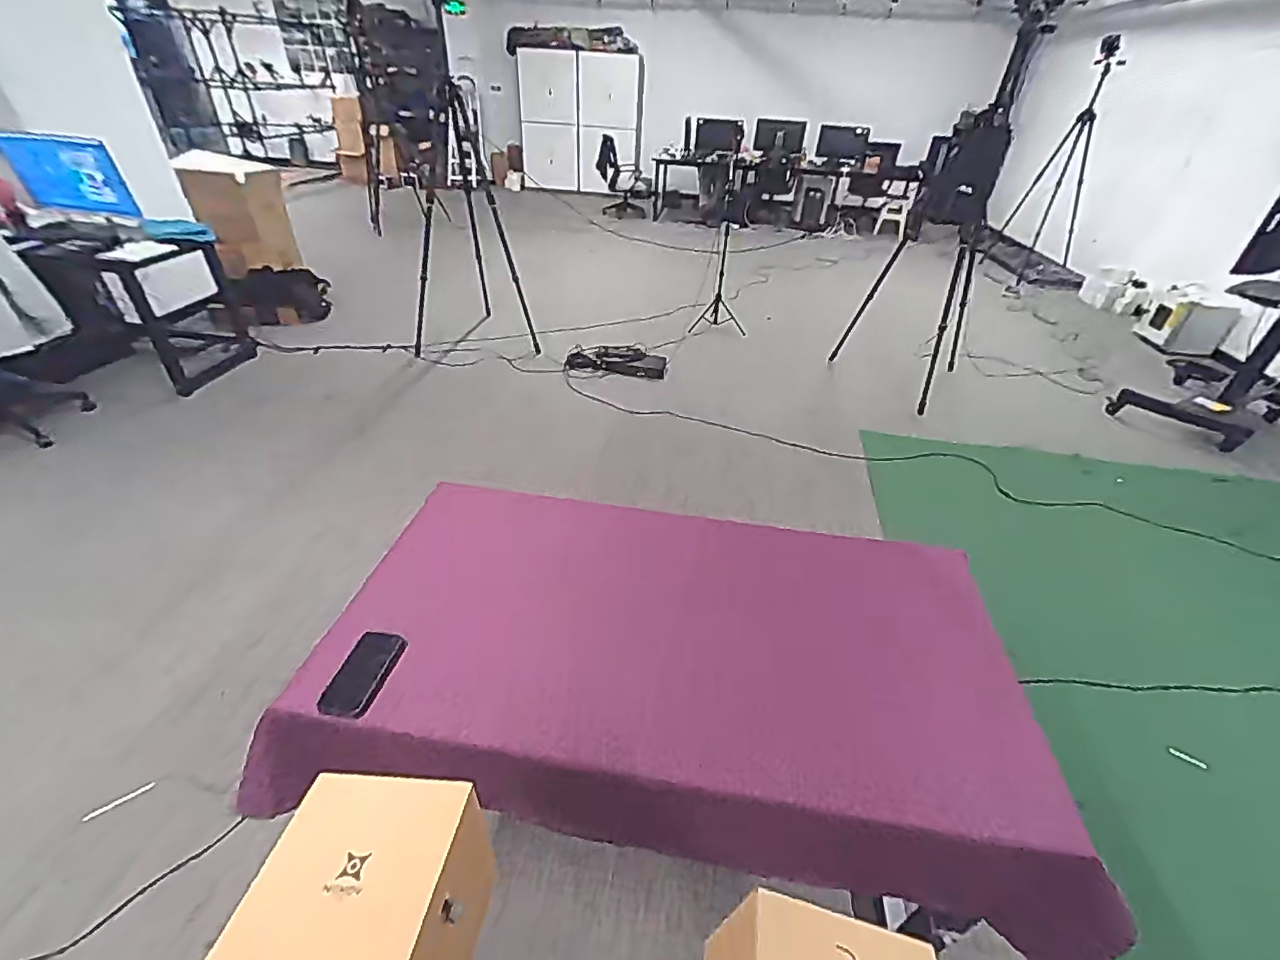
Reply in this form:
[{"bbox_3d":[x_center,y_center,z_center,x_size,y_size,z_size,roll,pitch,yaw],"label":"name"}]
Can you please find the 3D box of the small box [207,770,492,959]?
[{"bbox_3d":[-0.251,0.417,0.519,0.168,0.176,0.179,2,30,5],"label":"small box"}]
